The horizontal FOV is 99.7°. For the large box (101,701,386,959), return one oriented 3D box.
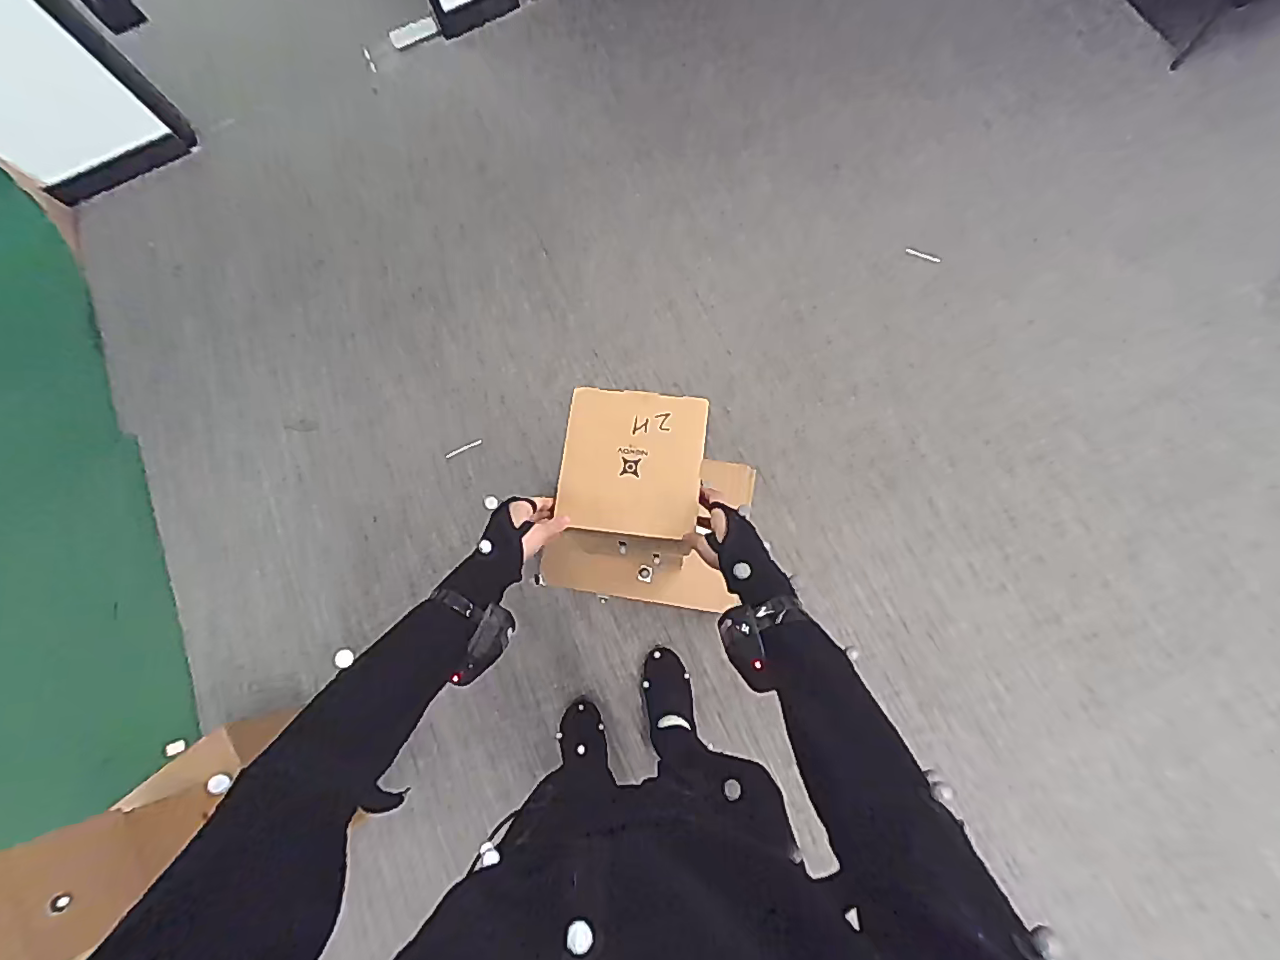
[{"bbox_3d":[-0.865,0.760,1.181,0.408,0.320,0.320,-39,75,-4],"label":"large box"}]

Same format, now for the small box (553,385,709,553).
[{"bbox_3d":[-0.004,-0.004,0.706,0.168,0.176,0.179,6,76,4],"label":"small box"}]

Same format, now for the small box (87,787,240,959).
[{"bbox_3d":[-0.865,0.683,0.947,0.179,0.176,0.168,-35,77,-5],"label":"small box"}]

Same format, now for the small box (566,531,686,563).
[{"bbox_3d":[-0.005,0.037,0.867,0.179,0.176,0.168,6,76,5],"label":"small box"}]

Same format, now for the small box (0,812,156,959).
[{"bbox_3d":[-0.873,0.636,0.791,0.168,0.176,0.179,-33,76,-4],"label":"small box"}]
